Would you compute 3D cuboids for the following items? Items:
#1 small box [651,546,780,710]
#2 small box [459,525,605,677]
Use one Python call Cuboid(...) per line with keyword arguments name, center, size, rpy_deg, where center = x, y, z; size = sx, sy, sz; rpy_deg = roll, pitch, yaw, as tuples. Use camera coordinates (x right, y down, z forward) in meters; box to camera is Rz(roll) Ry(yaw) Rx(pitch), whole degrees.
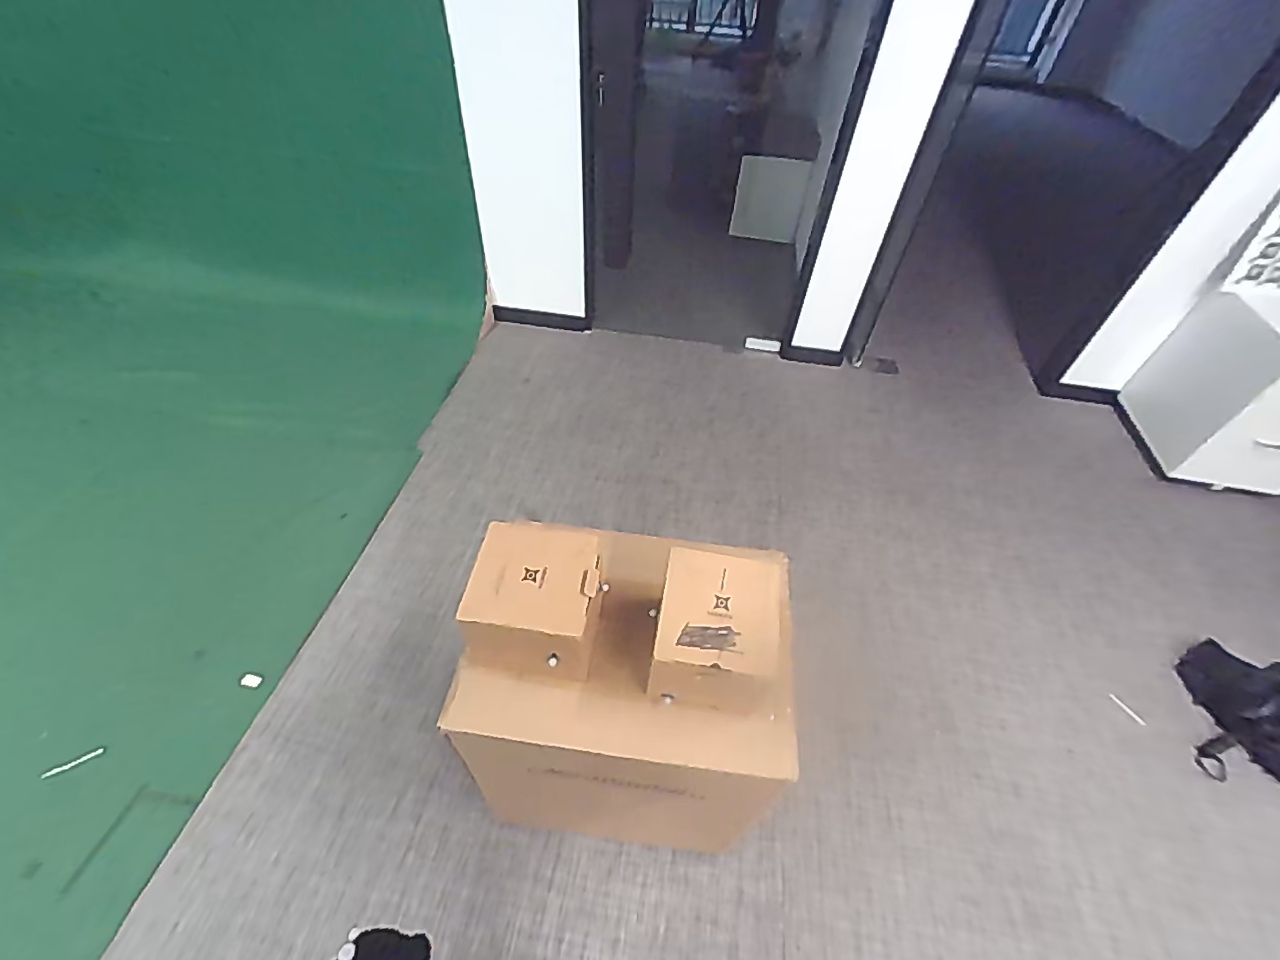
Cuboid(name="small box", center=(0.110, 0.228, 0.817), size=(0.168, 0.176, 0.179), rpy_deg=(9, 51, 5))
Cuboid(name="small box", center=(-0.152, 0.192, 0.839), size=(0.179, 0.176, 0.168), rpy_deg=(6, 50, 4))
